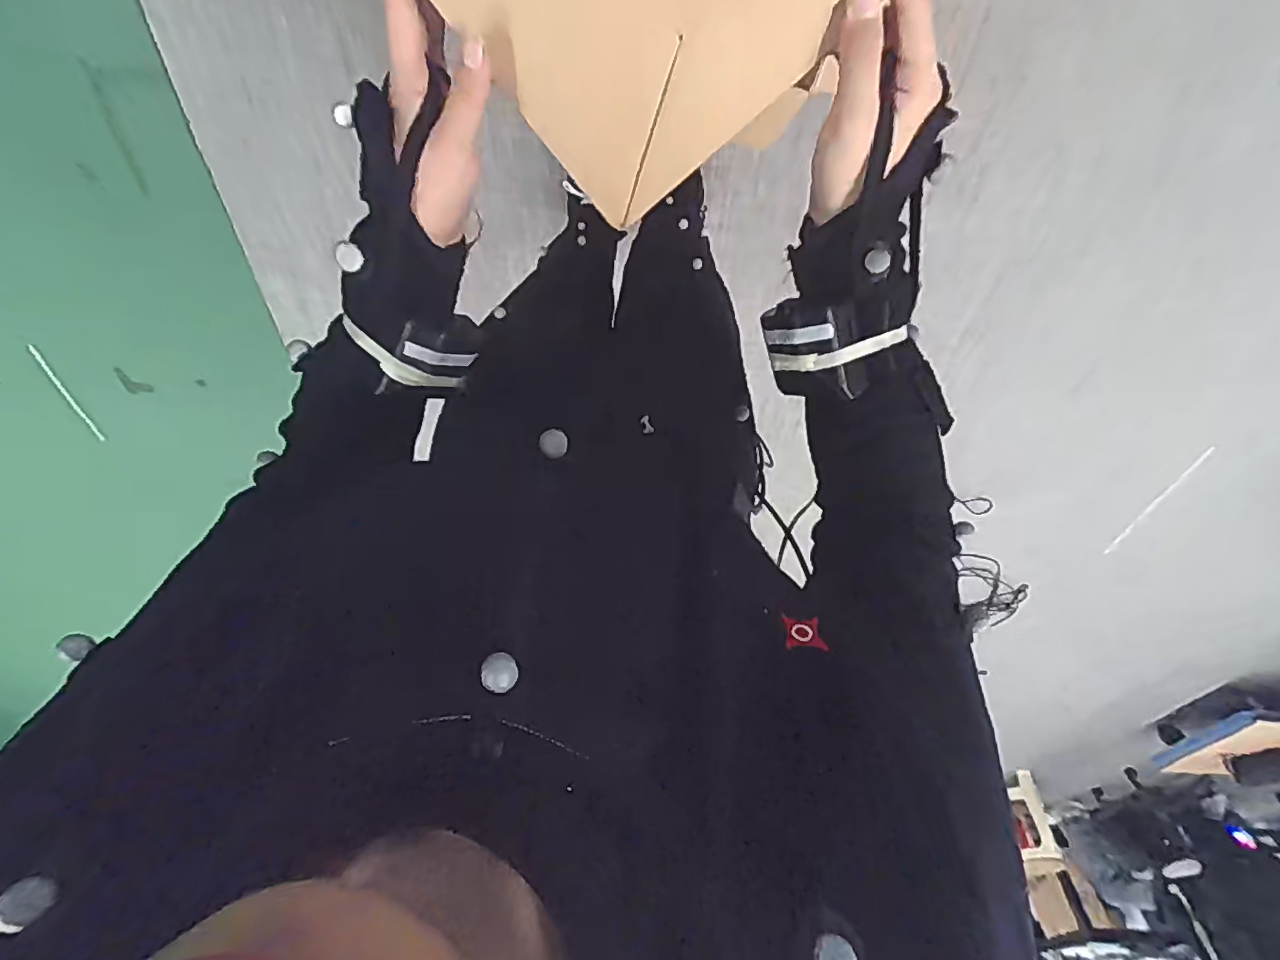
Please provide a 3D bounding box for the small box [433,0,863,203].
[{"bbox_3d":[0.006,-0.300,0.313,0.179,0.176,0.168,-29,126,29],"label":"small box"}]
